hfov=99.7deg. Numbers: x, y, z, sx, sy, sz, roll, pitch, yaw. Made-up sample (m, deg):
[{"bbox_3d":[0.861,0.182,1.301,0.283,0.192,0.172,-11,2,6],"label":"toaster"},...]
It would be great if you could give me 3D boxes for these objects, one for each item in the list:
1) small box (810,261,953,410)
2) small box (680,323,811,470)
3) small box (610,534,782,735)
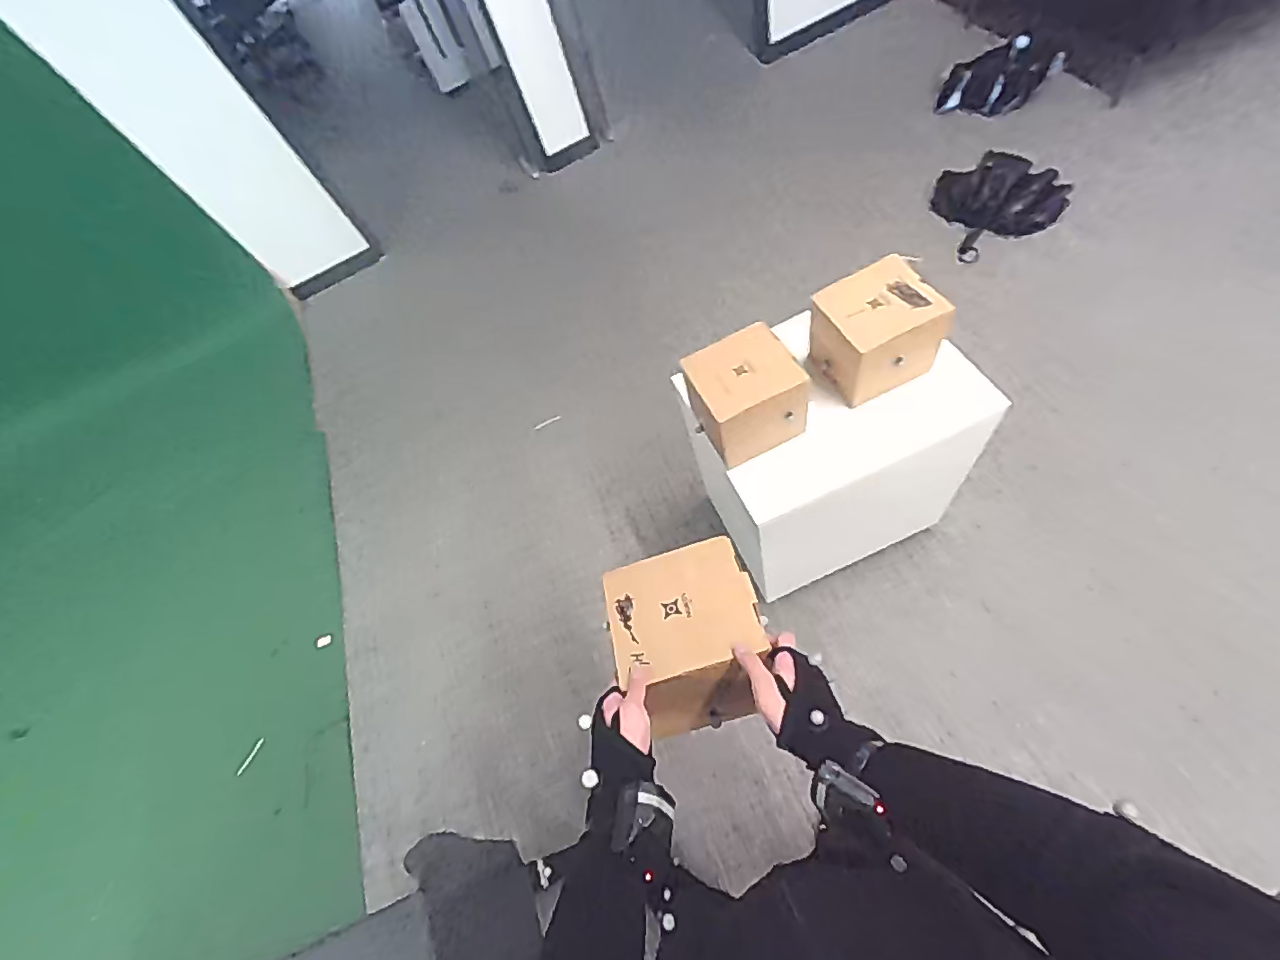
[{"bbox_3d":[0.435,-0.264,1.011,0.179,0.176,0.168,-25,59,0],"label":"small box"},{"bbox_3d":[0.195,-0.151,1.009,0.179,0.176,0.168,-27,58,-2],"label":"small box"},{"bbox_3d":[0.071,0.200,0.693,0.179,0.176,0.168,-15,44,2],"label":"small box"}]
